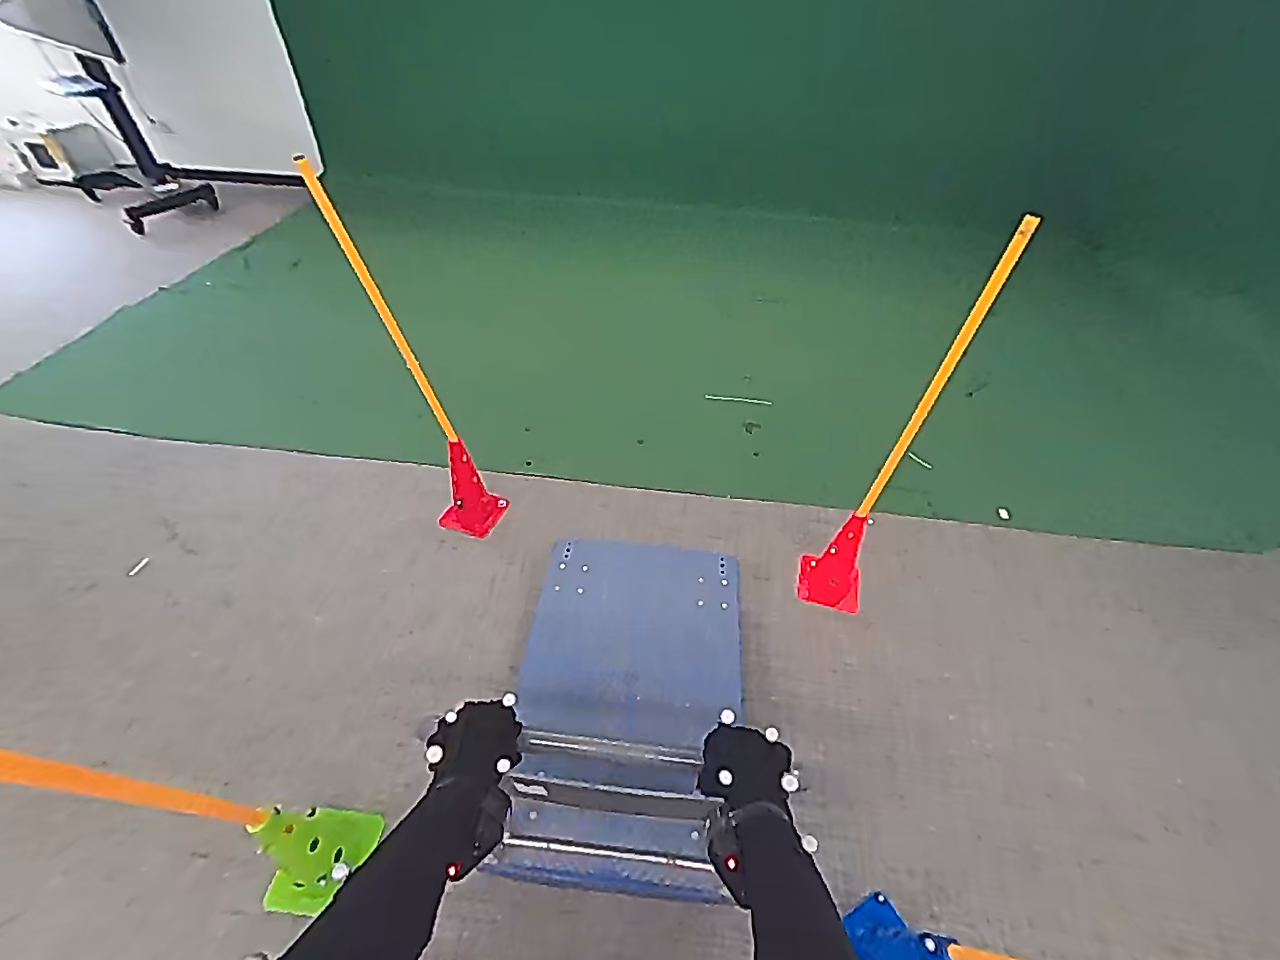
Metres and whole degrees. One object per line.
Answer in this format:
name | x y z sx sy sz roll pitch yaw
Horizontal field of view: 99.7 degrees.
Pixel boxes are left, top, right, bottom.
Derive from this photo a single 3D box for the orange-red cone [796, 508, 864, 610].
orange-red cone | 0.640 0.223 1.717 0.198 0.360 0.199 14 46 12
